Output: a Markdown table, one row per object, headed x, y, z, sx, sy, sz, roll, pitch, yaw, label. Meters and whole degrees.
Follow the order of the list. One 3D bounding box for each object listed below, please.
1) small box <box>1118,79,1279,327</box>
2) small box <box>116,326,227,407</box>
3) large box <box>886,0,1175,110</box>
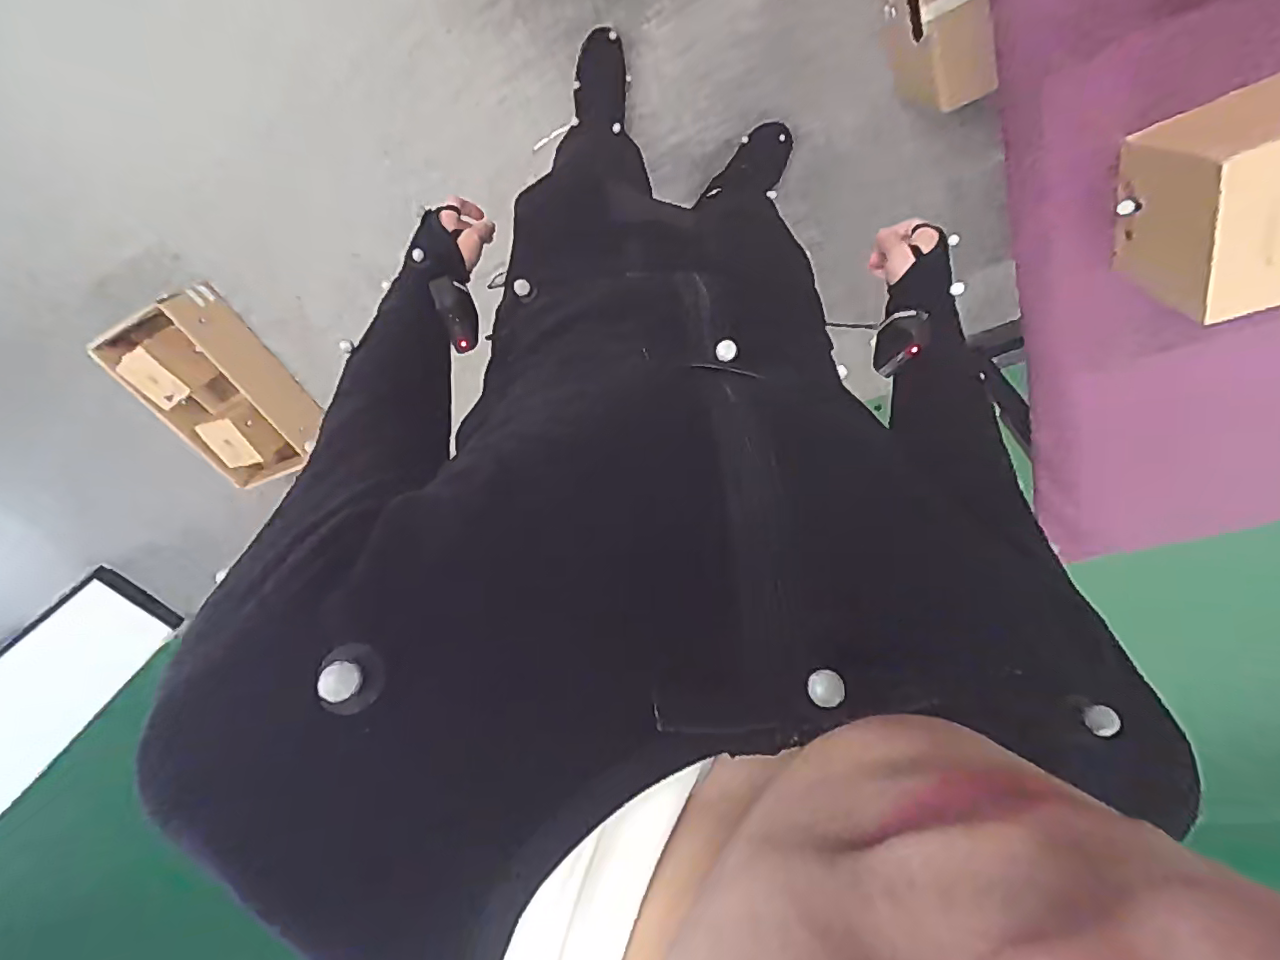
| x | y | z | sx | sy | sz | roll | pitch | yaw | label |
| --- | --- | --- | --- | --- | --- | --- | --- | --- | --- |
| 0.630 | -0.285 | 0.537 | 0.179 | 0.176 | 0.168 | -16 | 123 | 21 | small box |
| -1.501 | -0.373 | 1.742 | 0.168 | 0.176 | 0.179 | -20 | 123 | 24 | small box |
| 0.657 | -0.894 | 0.899 | 0.408 | 0.320 | 0.320 | -18 | 124 | 22 | large box |
